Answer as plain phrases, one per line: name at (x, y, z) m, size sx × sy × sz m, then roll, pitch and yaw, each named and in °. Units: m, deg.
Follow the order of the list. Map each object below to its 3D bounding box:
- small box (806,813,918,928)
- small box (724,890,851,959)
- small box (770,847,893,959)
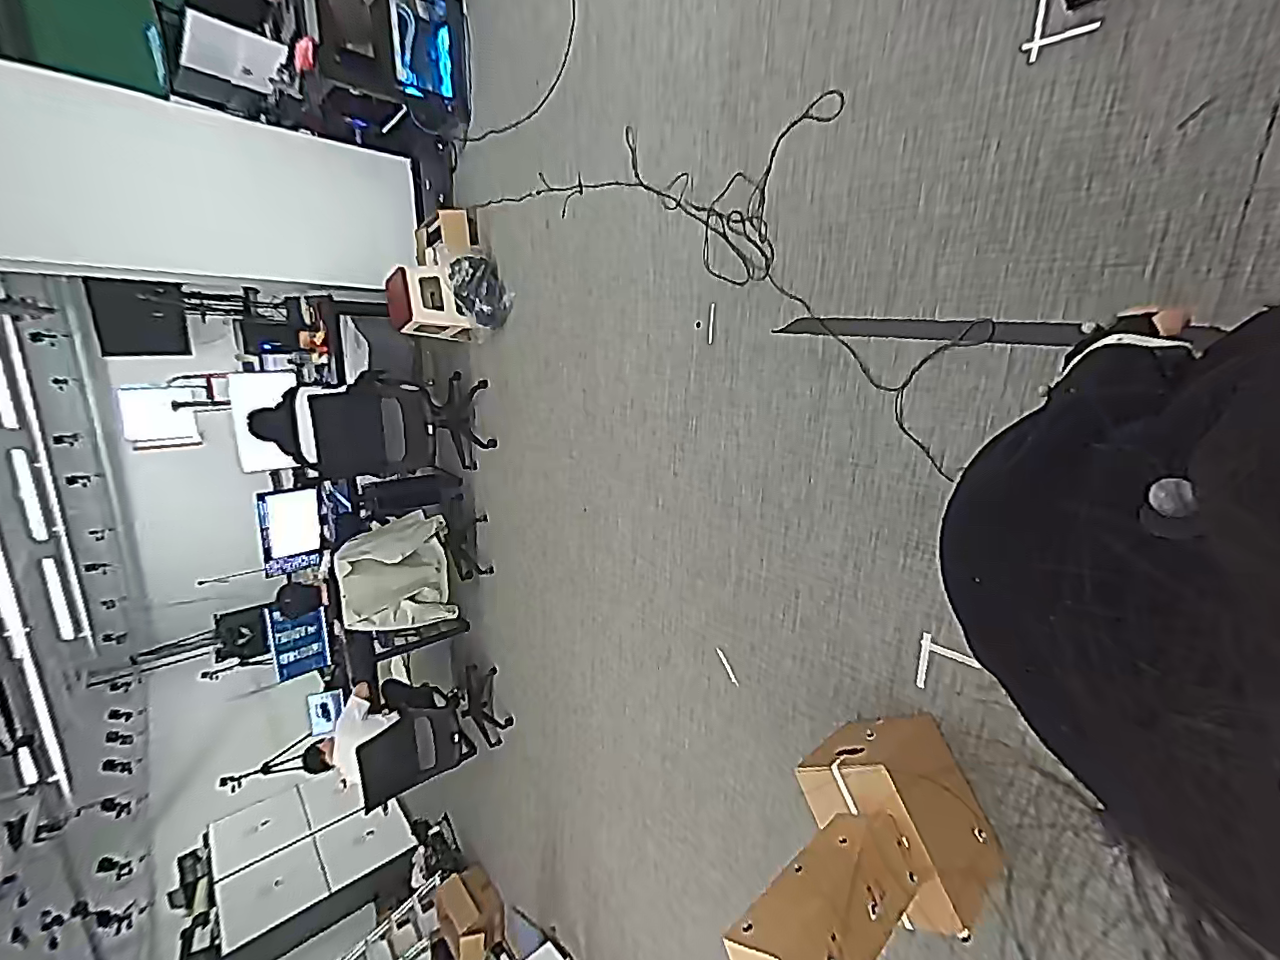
small box at (0.560, 0.961, 1.349) m, size 0.179 × 0.176 × 0.168 m, roll -39°, pitch 69°, yaw 47°
small box at (0.317, 1.007, 1.135) m, size 0.179 × 0.176 × 0.168 m, roll -36°, pitch 73°, yaw 48°
small box at (0.440, 0.981, 1.242) m, size 0.179 × 0.176 × 0.168 m, roll -35°, pitch 73°, yaw 47°
